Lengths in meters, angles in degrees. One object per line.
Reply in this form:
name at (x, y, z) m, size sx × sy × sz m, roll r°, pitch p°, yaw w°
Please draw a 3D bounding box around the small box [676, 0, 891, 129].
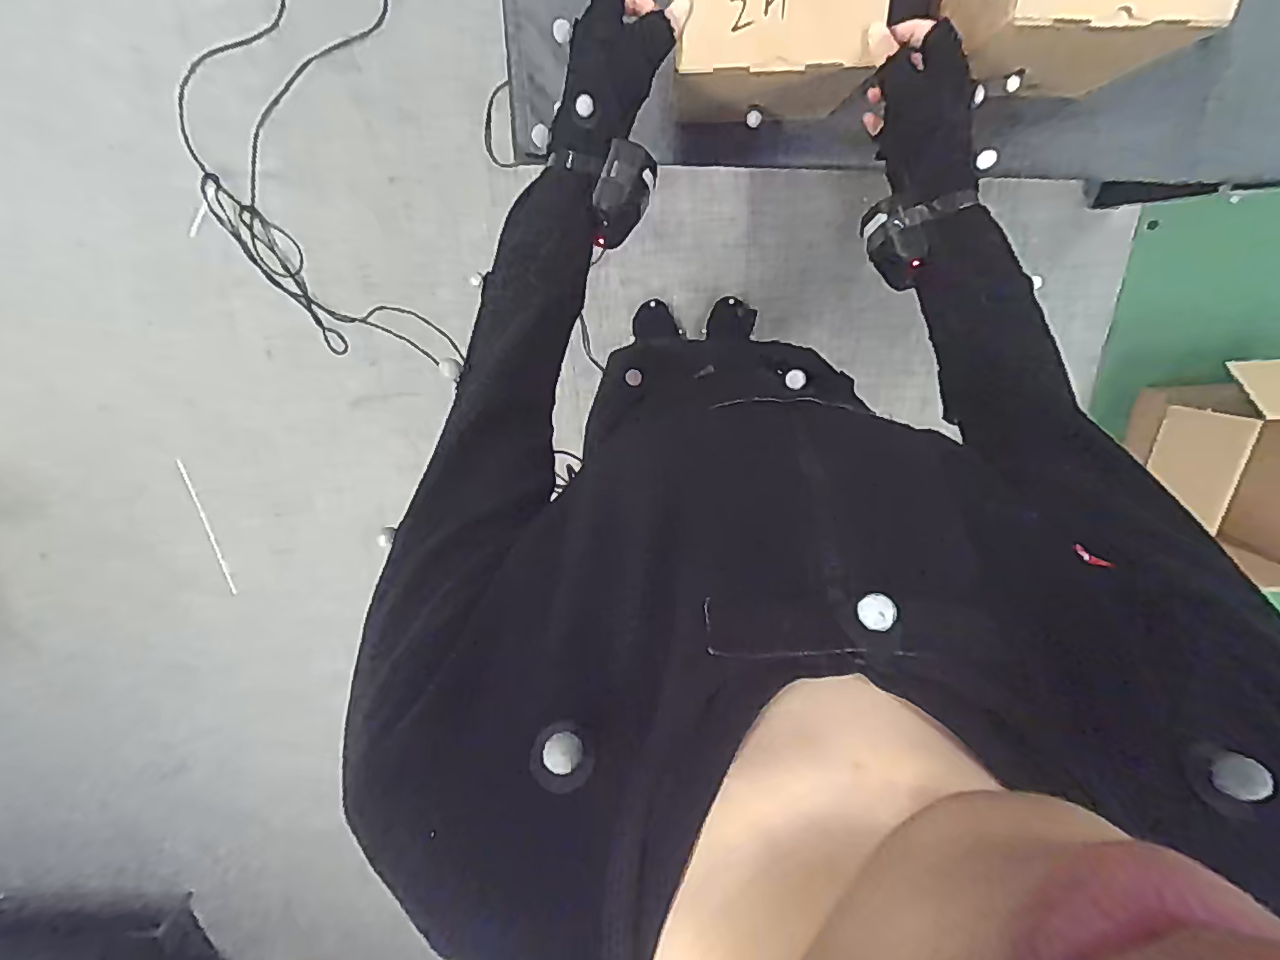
small box at (0.116, -0.437, 0.483) m, size 0.168 × 0.176 × 0.179 m, roll 0°, pitch 111°, yaw 4°
